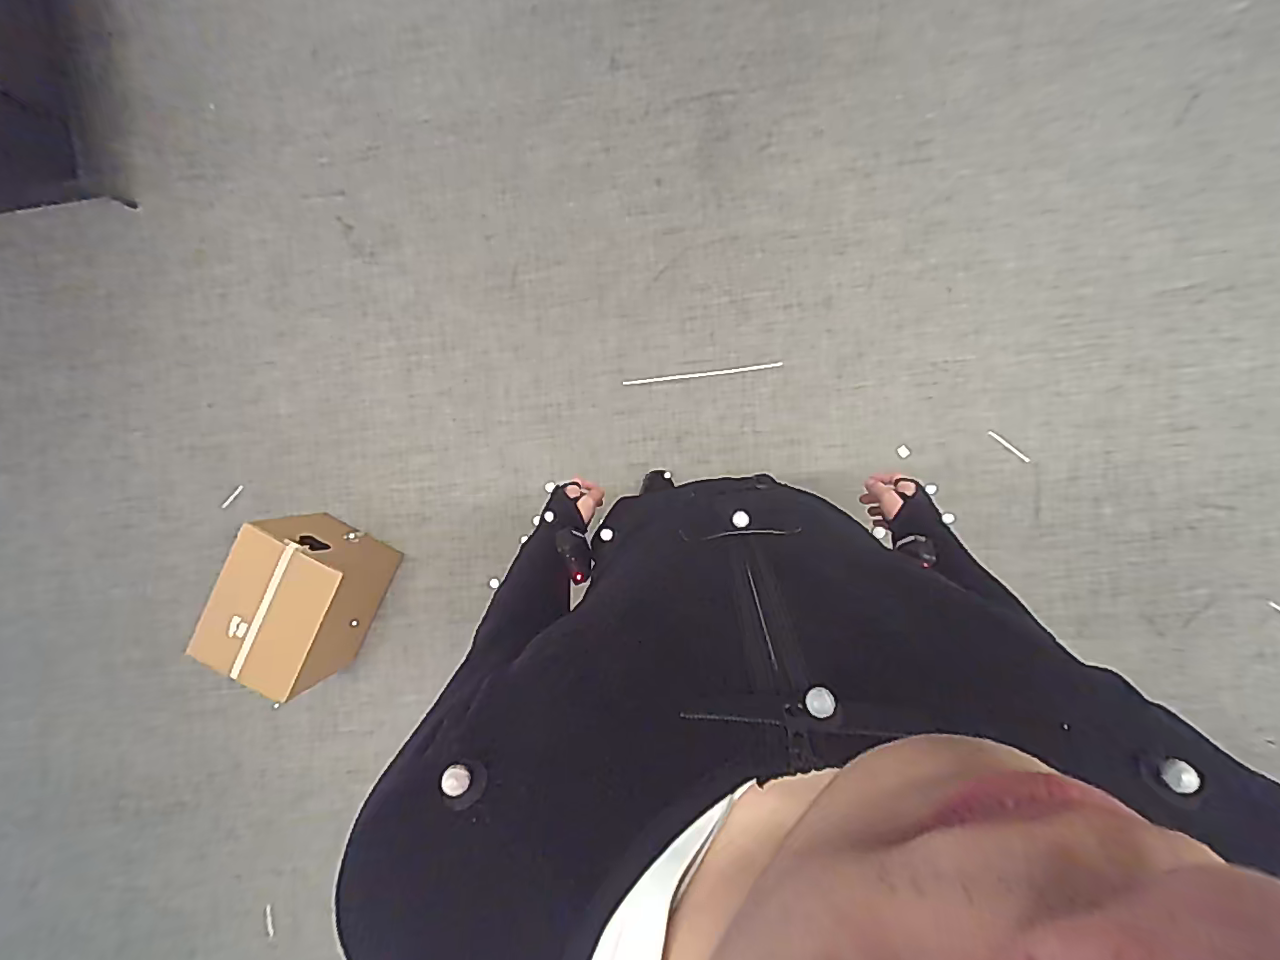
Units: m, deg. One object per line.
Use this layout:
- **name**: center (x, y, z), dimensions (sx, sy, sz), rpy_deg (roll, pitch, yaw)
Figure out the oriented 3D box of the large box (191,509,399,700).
- **large box**: center (-0.982, 0.339, 1.583), dimensions (0.320, 0.320, 0.408), rpy_deg (26, 95, 4)
